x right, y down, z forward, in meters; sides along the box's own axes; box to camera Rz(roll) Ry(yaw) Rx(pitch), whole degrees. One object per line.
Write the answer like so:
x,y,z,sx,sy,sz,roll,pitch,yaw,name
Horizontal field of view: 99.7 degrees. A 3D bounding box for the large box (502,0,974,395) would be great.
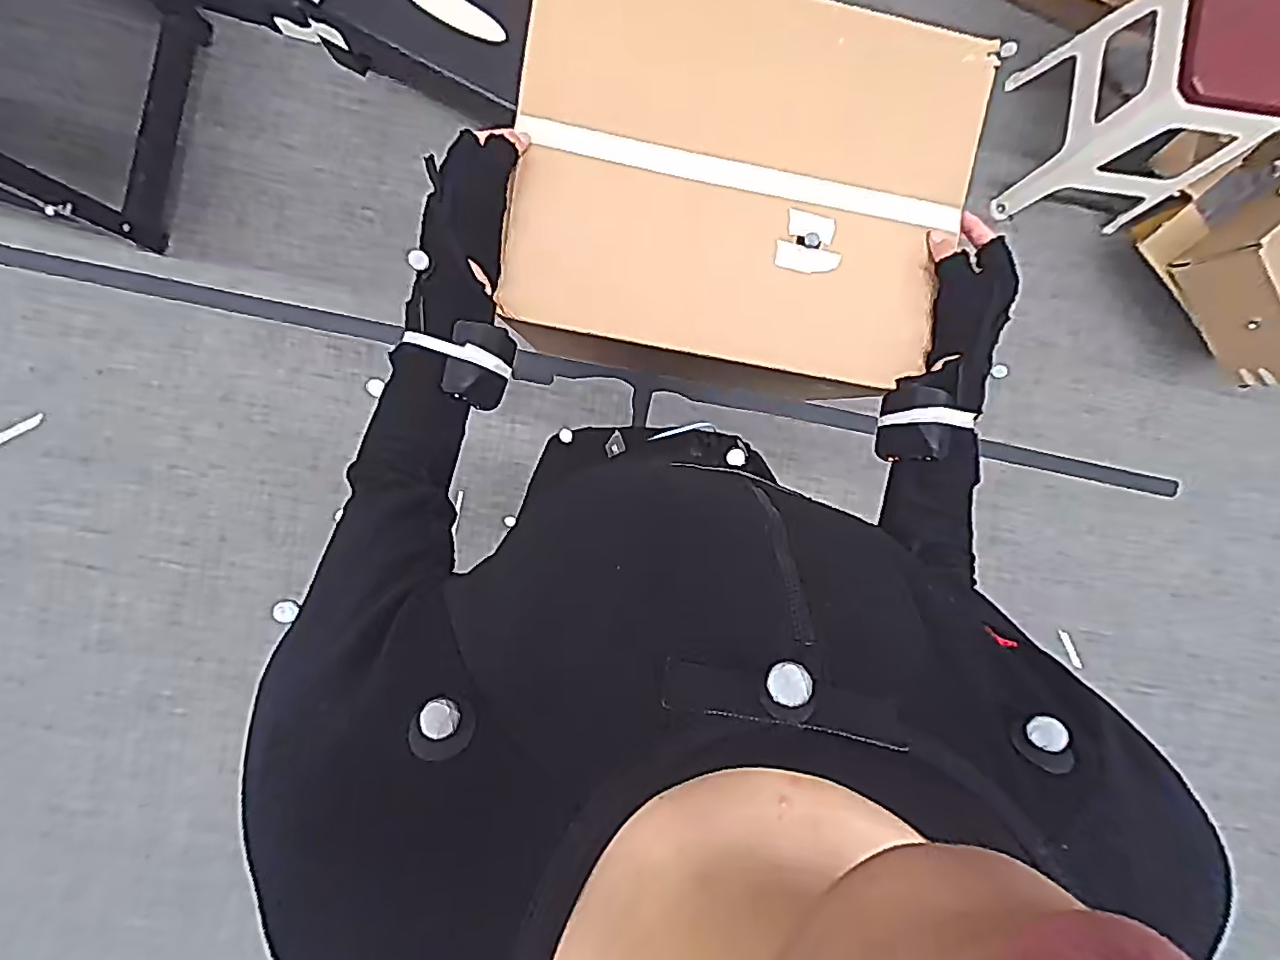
0.078,-0.289,0.643,0.408,0.320,0.320,10,97,-6,large box
